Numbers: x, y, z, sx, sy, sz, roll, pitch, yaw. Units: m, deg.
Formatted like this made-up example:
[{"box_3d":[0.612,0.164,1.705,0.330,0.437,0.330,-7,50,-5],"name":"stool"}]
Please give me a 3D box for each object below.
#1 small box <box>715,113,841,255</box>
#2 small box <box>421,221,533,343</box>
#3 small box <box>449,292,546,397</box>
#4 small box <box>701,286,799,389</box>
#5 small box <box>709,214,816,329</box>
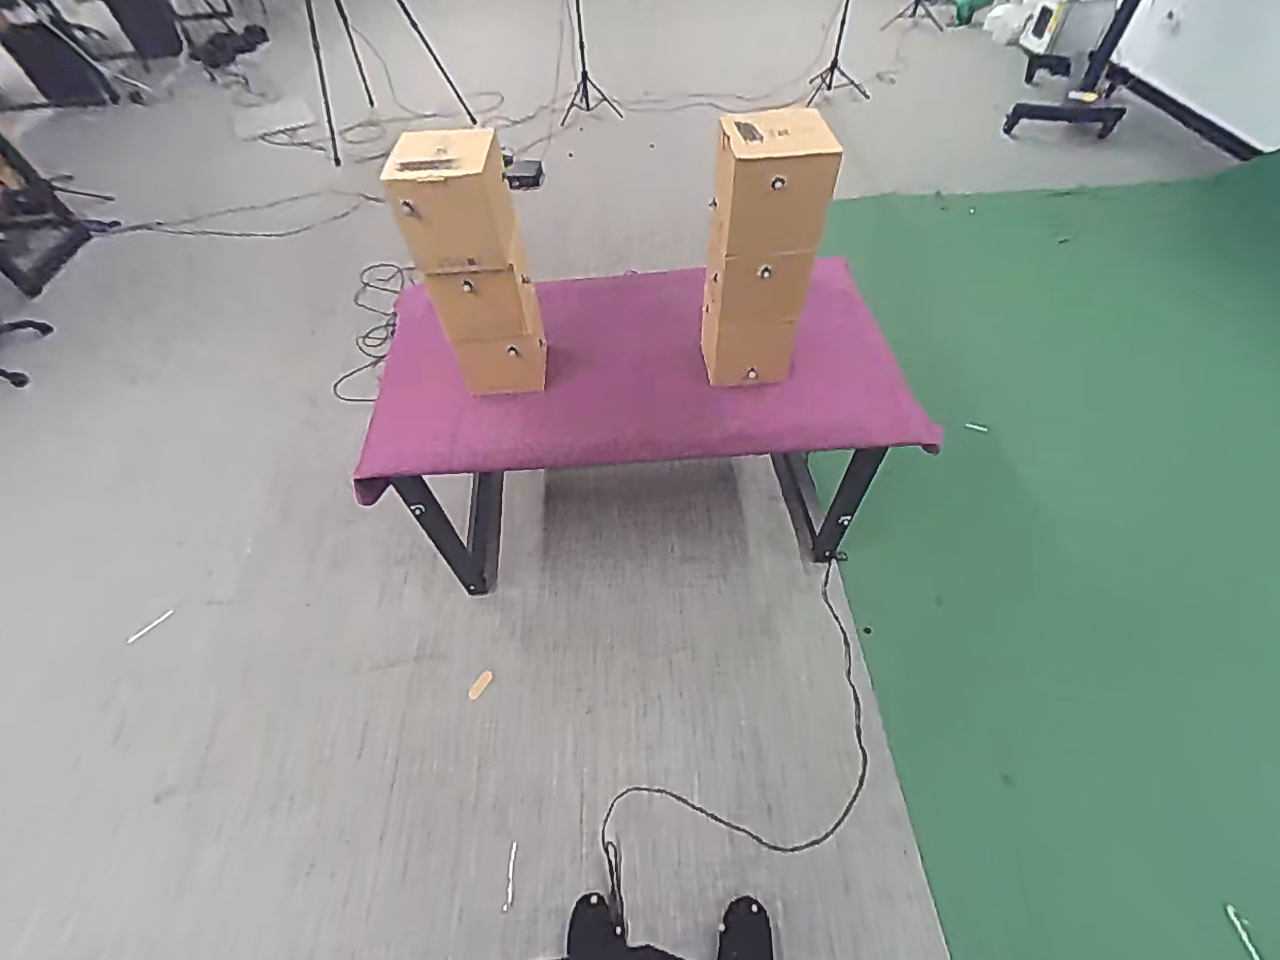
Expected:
[{"box_3d":[0.232,-0.520,0.963,0.179,0.176,0.168,-5,55,-1],"name":"small box"},{"box_3d":[-0.319,-0.400,1.103,0.179,0.176,0.168,-4,55,0],"name":"small box"},{"box_3d":[-0.314,-0.307,1.236,0.179,0.176,0.168,-4,54,-1],"name":"small box"},{"box_3d":[0.240,-0.325,1.225,0.179,0.176,0.168,-5,53,-1],"name":"small box"},{"box_3d":[0.235,-0.422,1.094,0.179,0.176,0.168,-4,55,0],"name":"small box"}]
